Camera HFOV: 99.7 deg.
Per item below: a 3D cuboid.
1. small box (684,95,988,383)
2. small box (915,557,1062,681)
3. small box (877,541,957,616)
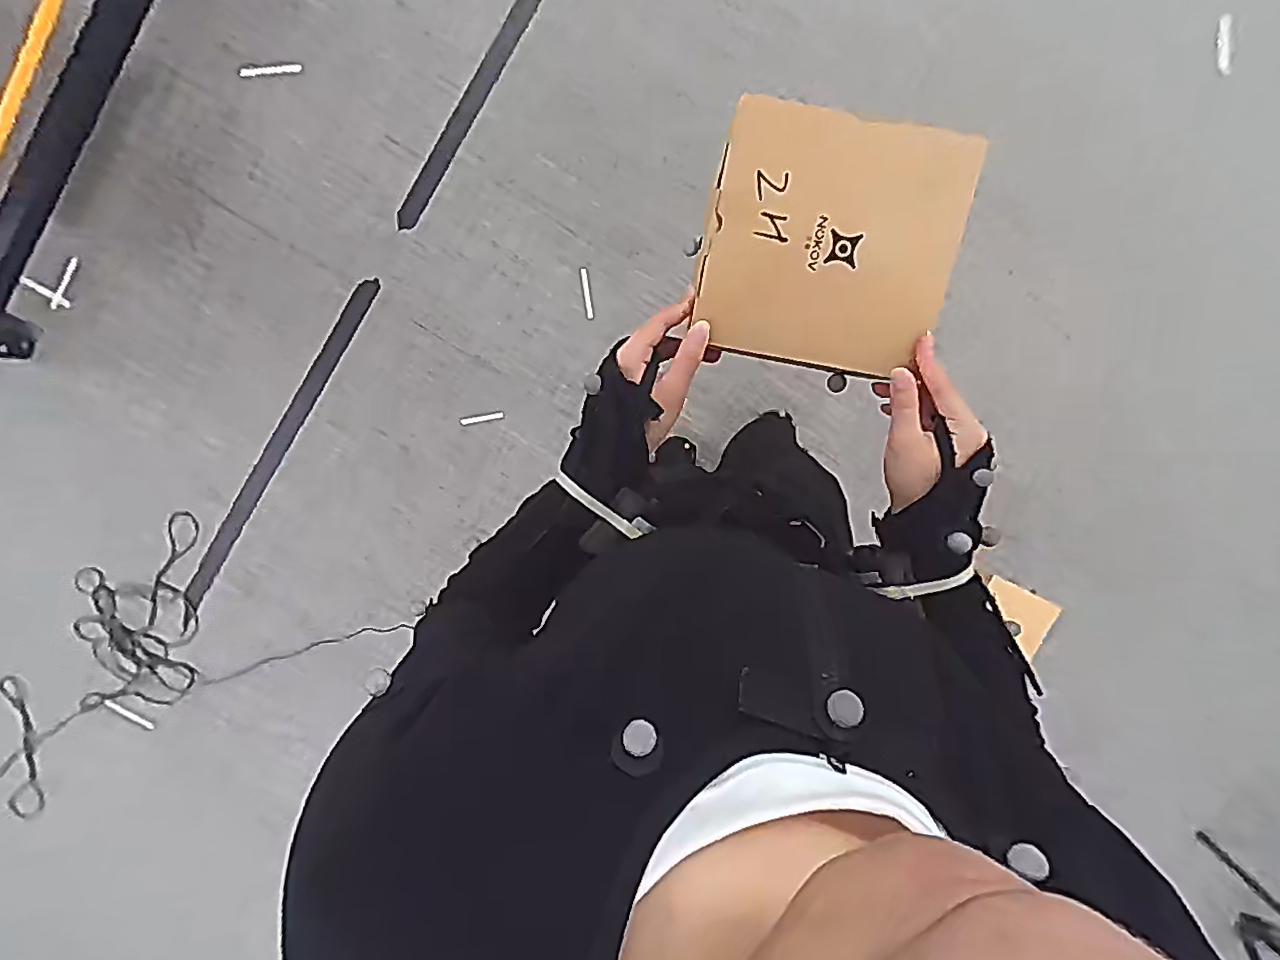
[{"bbox_3d":[0.139,-0.184,0.458,0.179,0.176,0.168,10,103,0],"label":"small box"},{"bbox_3d":[0.735,0.288,1.163,0.168,0.176,0.179,26,96,-4],"label":"small box"},{"bbox_3d":[0.722,0.266,1.324,0.179,0.176,0.168,33,95,-6],"label":"small box"}]
